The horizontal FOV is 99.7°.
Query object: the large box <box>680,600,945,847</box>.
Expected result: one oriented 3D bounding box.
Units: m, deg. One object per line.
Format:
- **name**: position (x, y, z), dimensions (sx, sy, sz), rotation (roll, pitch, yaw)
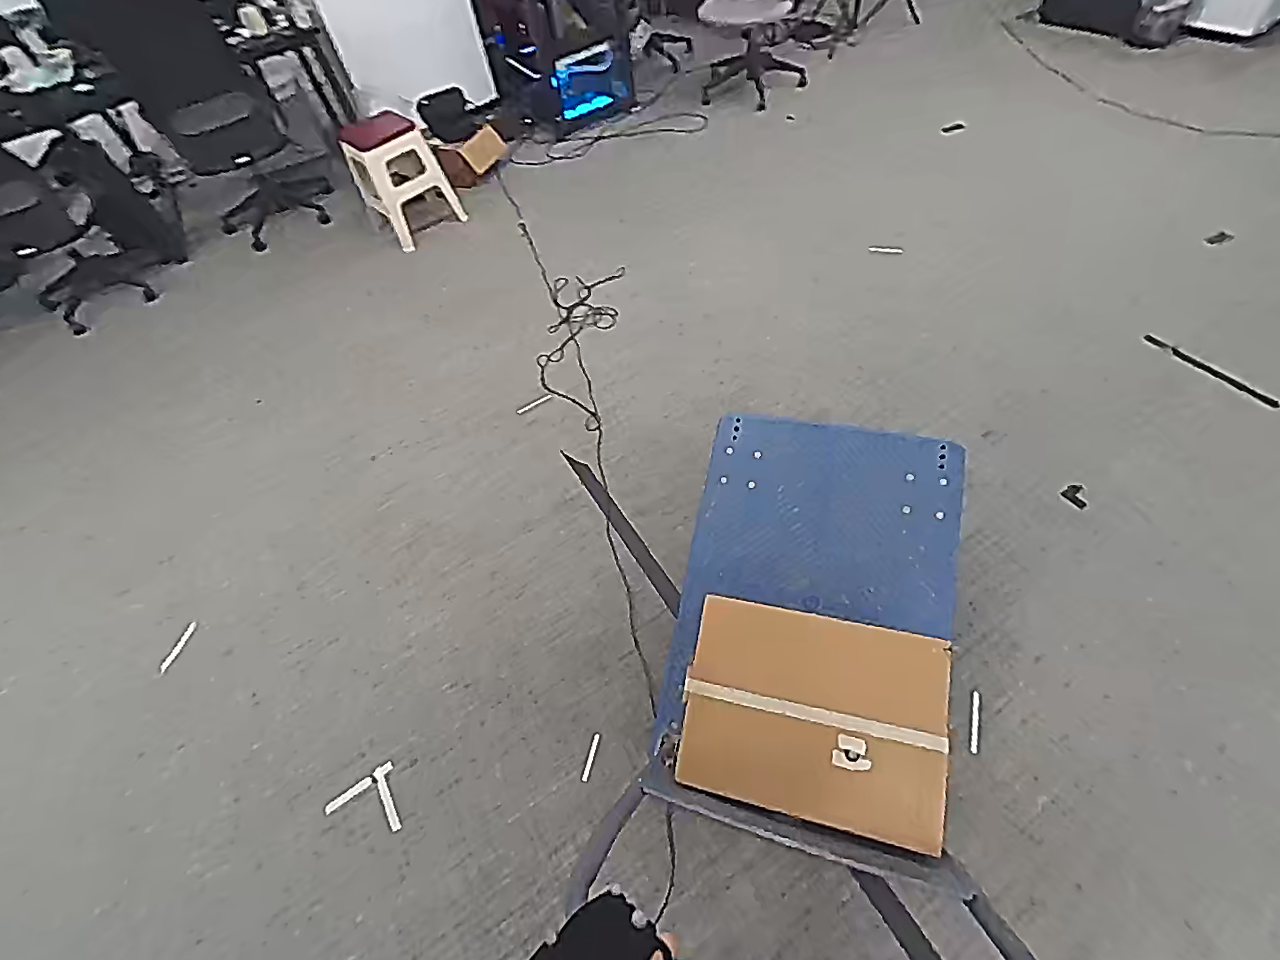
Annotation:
- **large box**: position (0.312, 0.430, 1.035), dimensions (0.408, 0.320, 0.320), rotation (8, 75, 14)
